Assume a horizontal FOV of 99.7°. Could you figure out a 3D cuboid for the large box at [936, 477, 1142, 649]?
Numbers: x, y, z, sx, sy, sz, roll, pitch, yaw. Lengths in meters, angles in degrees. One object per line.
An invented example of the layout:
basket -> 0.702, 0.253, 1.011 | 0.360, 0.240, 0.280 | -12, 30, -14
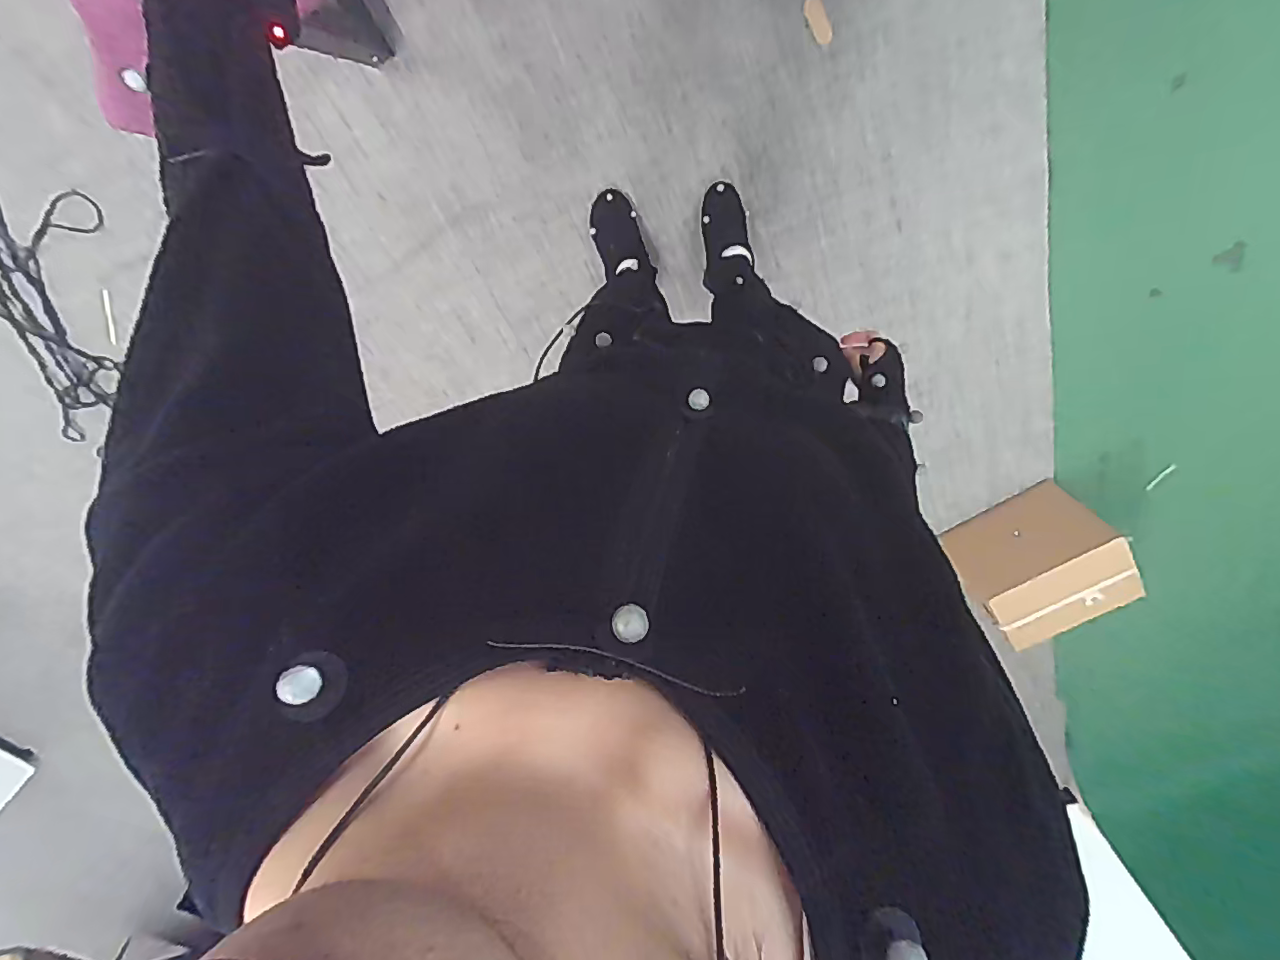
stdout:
large box -> 1.280, 0.270, 1.766 | 0.408, 0.320, 0.320 | -35, 119, 16
